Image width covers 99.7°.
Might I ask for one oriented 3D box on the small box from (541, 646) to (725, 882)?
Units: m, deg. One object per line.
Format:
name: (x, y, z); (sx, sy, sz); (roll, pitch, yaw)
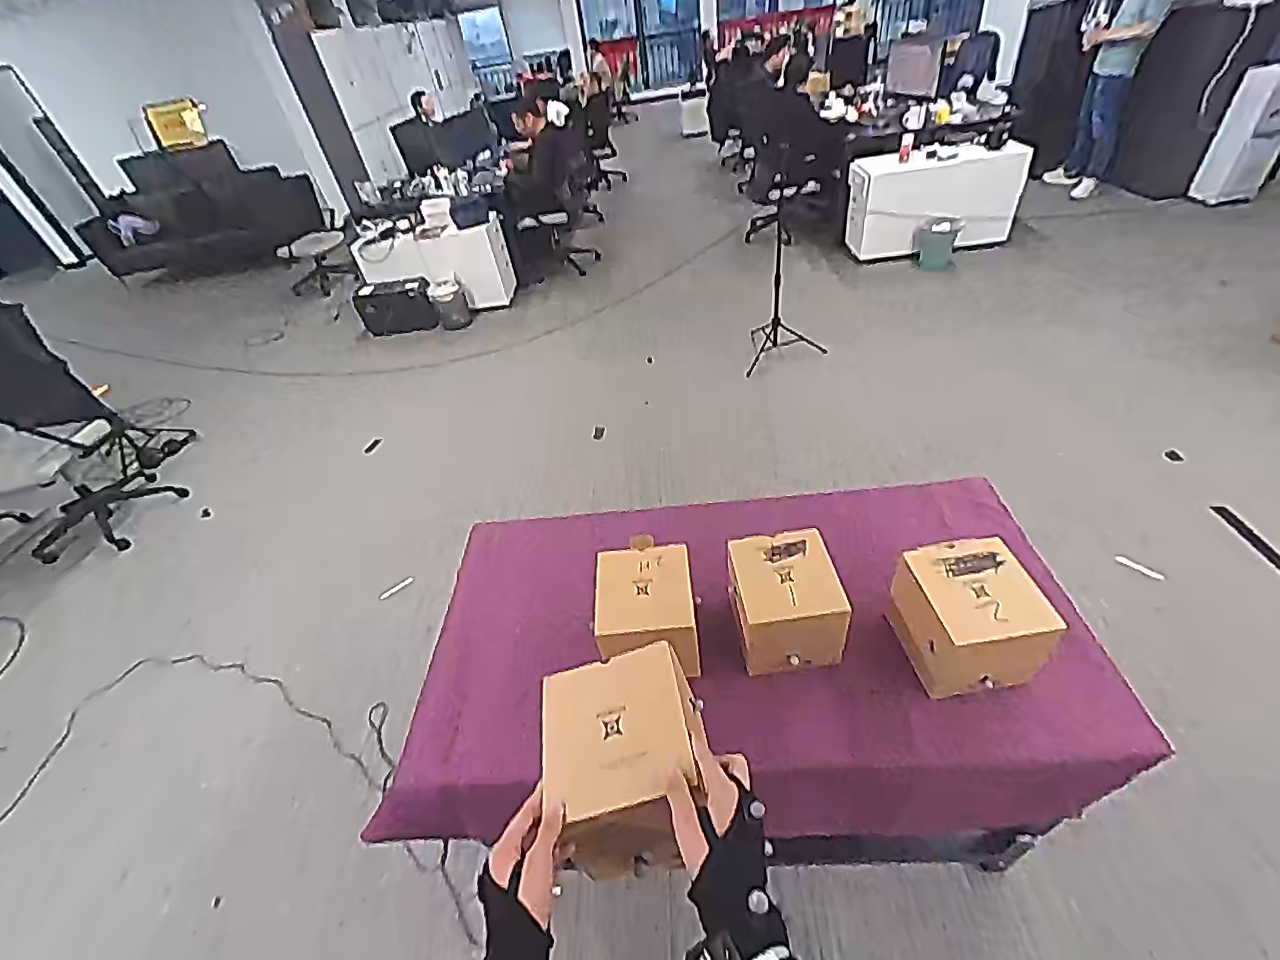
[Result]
small box: (-0.007, 0.338, 0.651); (0.168, 0.176, 0.179); (-18, 34, 4)

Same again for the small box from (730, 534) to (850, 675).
small box: (0.257, 0.224, 0.975); (0.168, 0.176, 0.179); (-8, 42, 2)

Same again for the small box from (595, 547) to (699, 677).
small box: (0.017, 0.250, 0.993); (0.168, 0.176, 0.179); (-6, 41, 4)
